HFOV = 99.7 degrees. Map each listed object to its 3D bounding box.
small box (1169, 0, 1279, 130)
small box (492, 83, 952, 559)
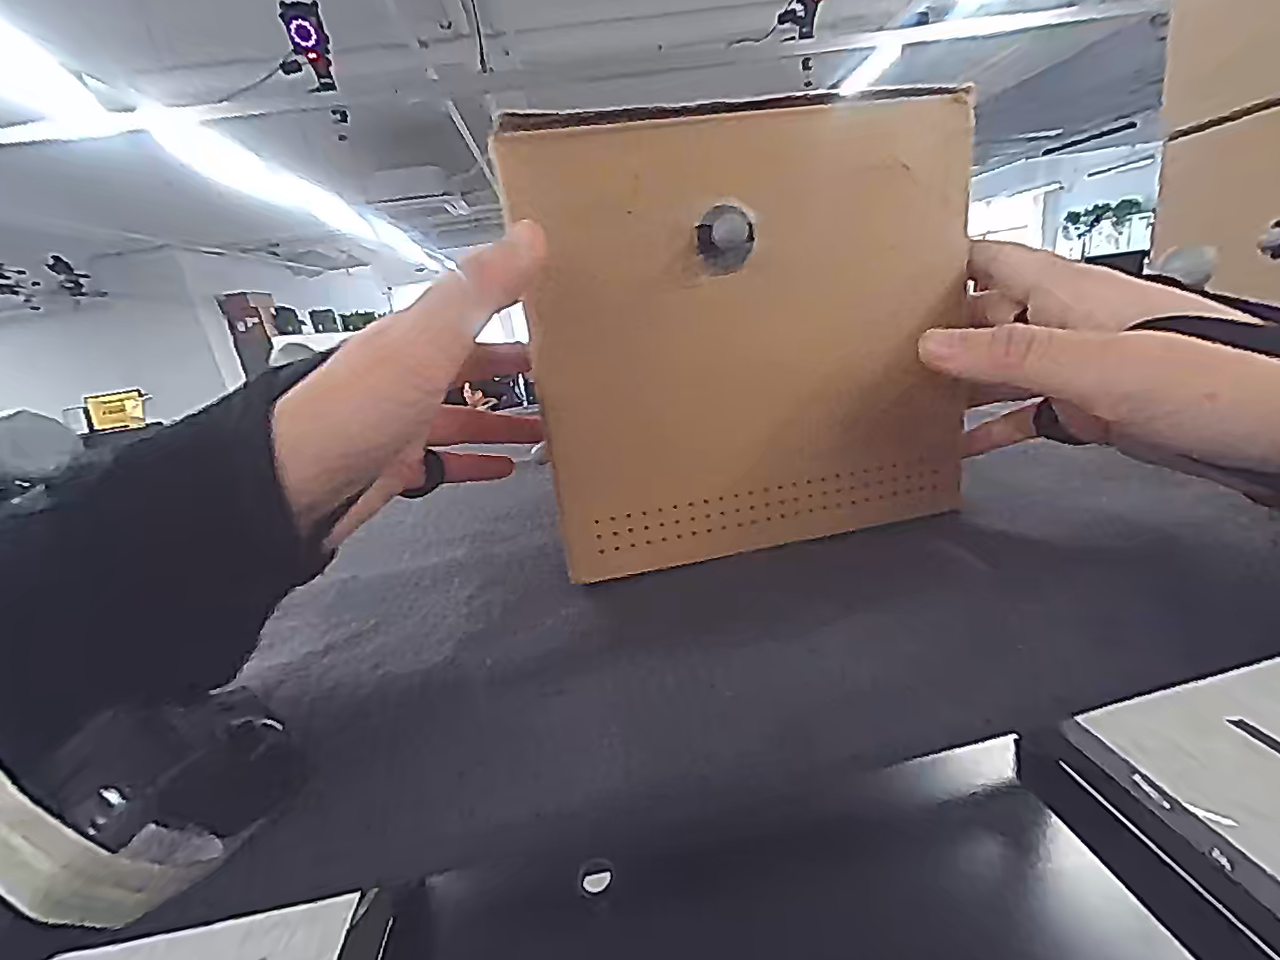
[{"bbox_3d":[0.429,-0.304,0.273,0.168,0.176,0.179,-10,17,1],"label":"small box"},{"bbox_3d":[0.034,-0.071,0.286,0.179,0.176,0.168,-10,16,-7],"label":"small box"}]
